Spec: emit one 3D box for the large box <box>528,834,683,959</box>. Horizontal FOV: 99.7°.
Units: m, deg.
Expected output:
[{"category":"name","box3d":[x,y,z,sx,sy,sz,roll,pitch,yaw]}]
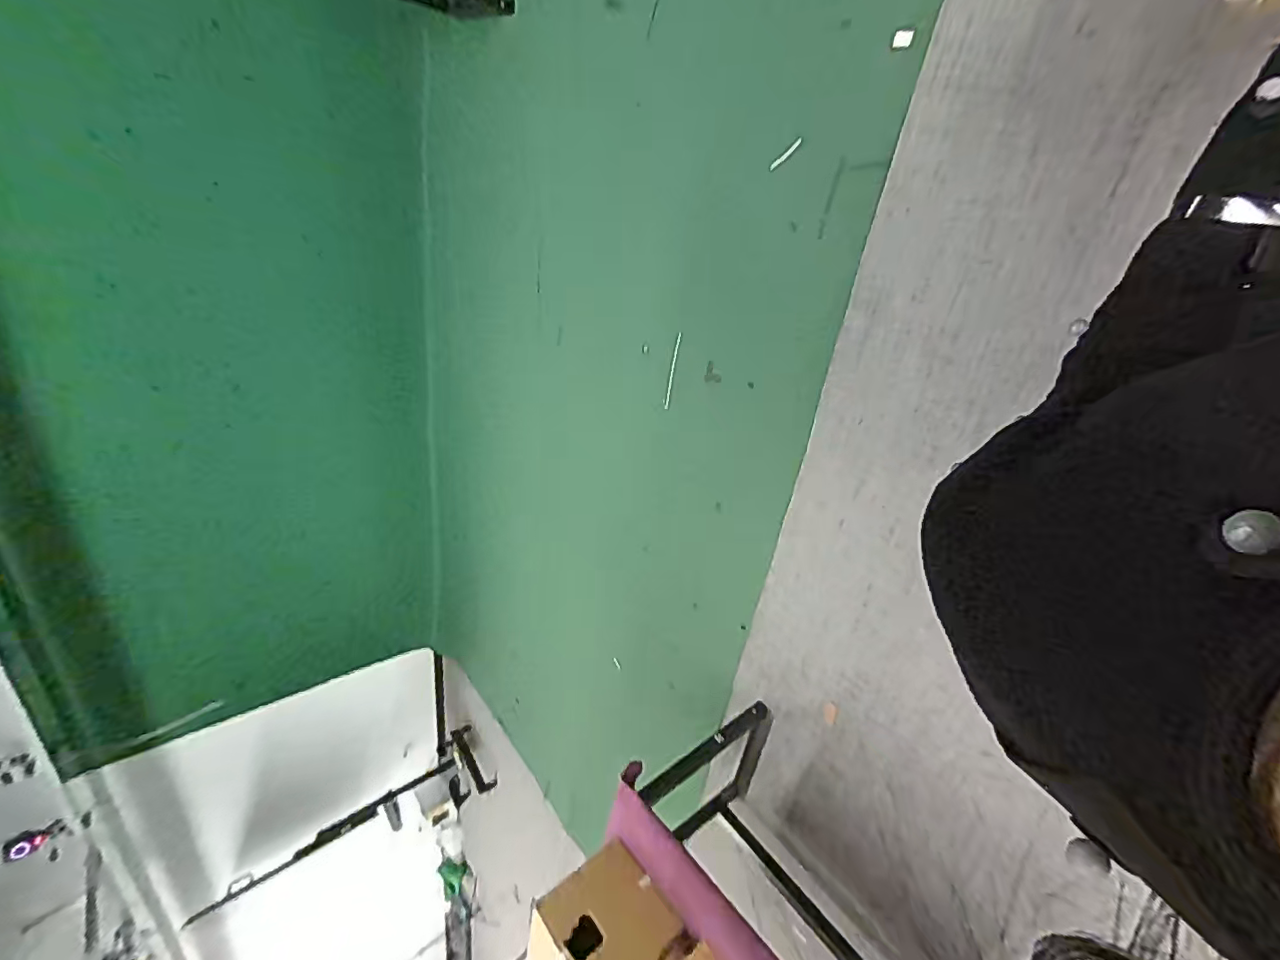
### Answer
[{"category":"large box","box3d":[-0.111,1.376,1.599,0.320,0.320,0.408,32,123,38]}]
